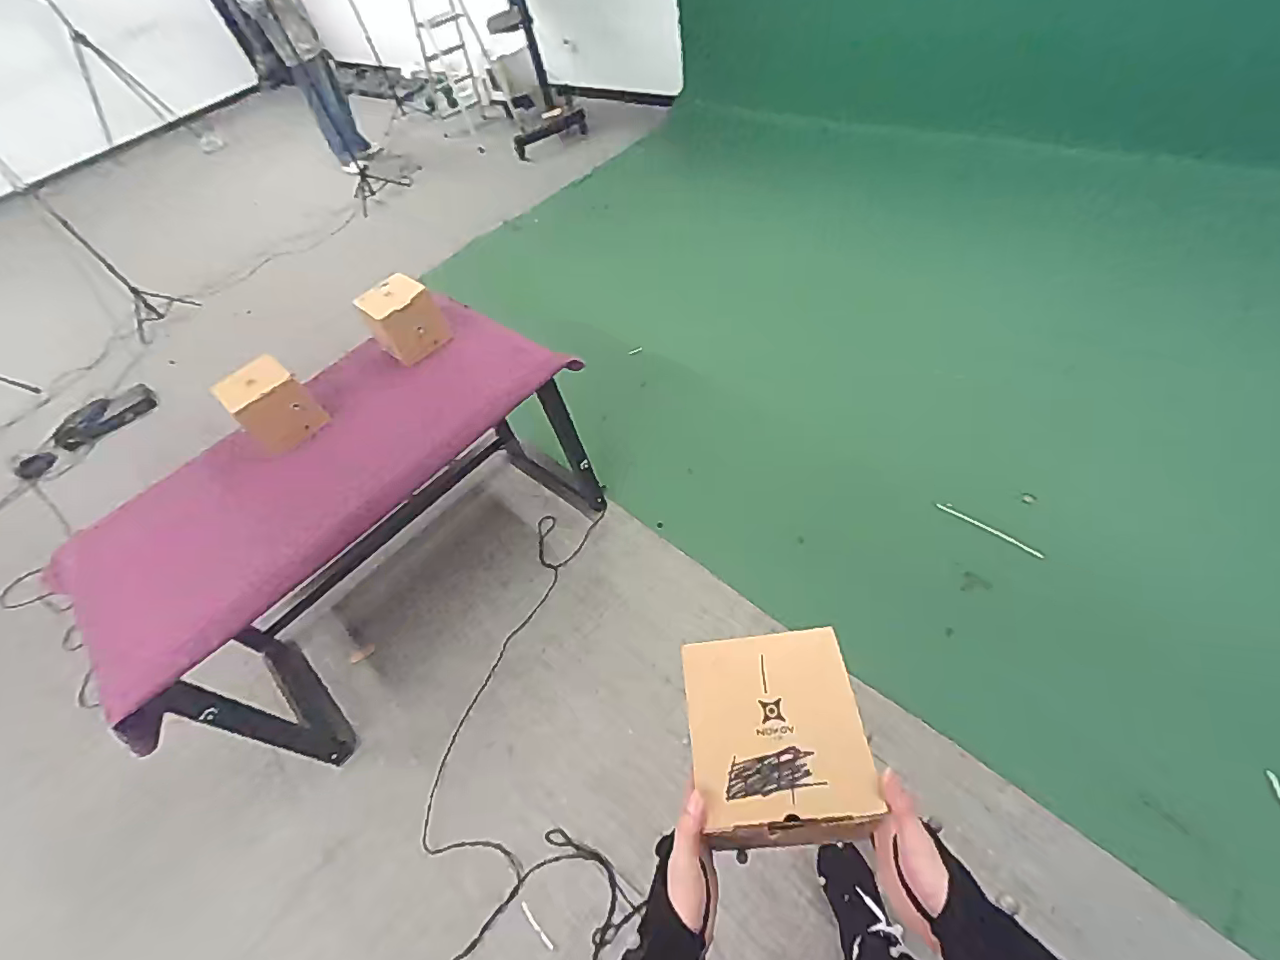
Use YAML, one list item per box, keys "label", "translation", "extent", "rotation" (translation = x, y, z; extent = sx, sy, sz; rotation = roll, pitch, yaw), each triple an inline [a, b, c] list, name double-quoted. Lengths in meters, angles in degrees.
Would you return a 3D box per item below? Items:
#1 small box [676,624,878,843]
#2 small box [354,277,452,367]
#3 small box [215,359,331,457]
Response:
- label: "small box"
  translation: [0.139, 0.281, 0.587]
  extent: [0.168, 0.176, 0.179]
  rotation: [-10, 49, 6]
- label: "small box"
  translation: [-0.687, -0.456, 1.583]
  extent: [0.179, 0.176, 0.168]
  rotation: [33, 67, 32]
- label: "small box"
  translation: [-0.974, -0.186, 1.449]
  extent: [0.179, 0.176, 0.168]
  rotation: [31, 65, 32]
